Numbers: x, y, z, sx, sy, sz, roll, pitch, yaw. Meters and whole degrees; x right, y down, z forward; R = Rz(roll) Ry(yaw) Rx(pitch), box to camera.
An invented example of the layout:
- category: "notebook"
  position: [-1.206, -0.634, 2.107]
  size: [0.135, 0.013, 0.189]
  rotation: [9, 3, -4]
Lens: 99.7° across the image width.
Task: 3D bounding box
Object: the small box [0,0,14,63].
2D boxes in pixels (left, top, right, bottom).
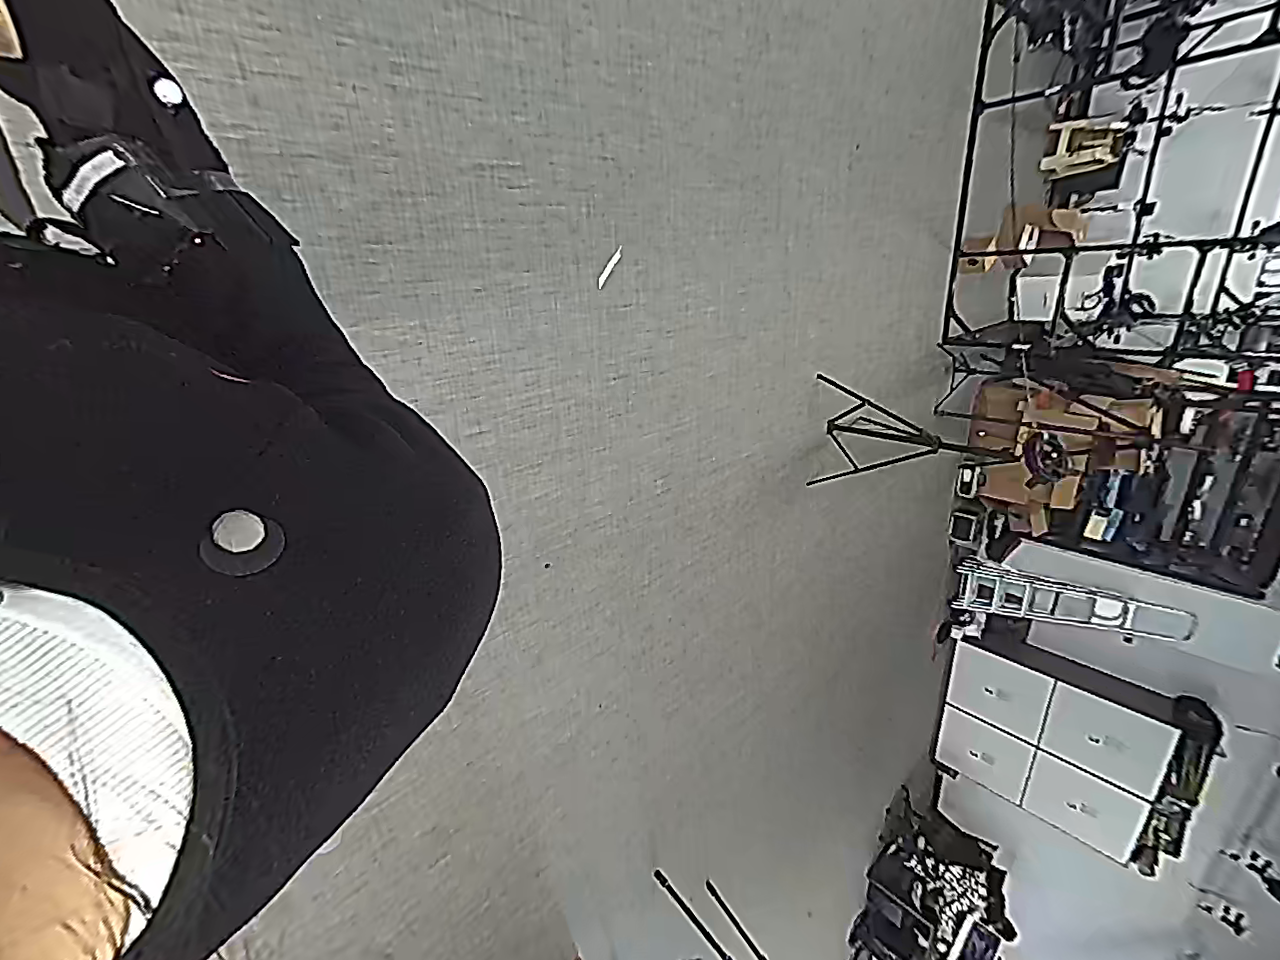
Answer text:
- category: "small box"
  position: [-0.329, -0.245, 0.146]
  size: [0.176, 0.168, 0.179]
  rotation: [-19, 127, -40]
